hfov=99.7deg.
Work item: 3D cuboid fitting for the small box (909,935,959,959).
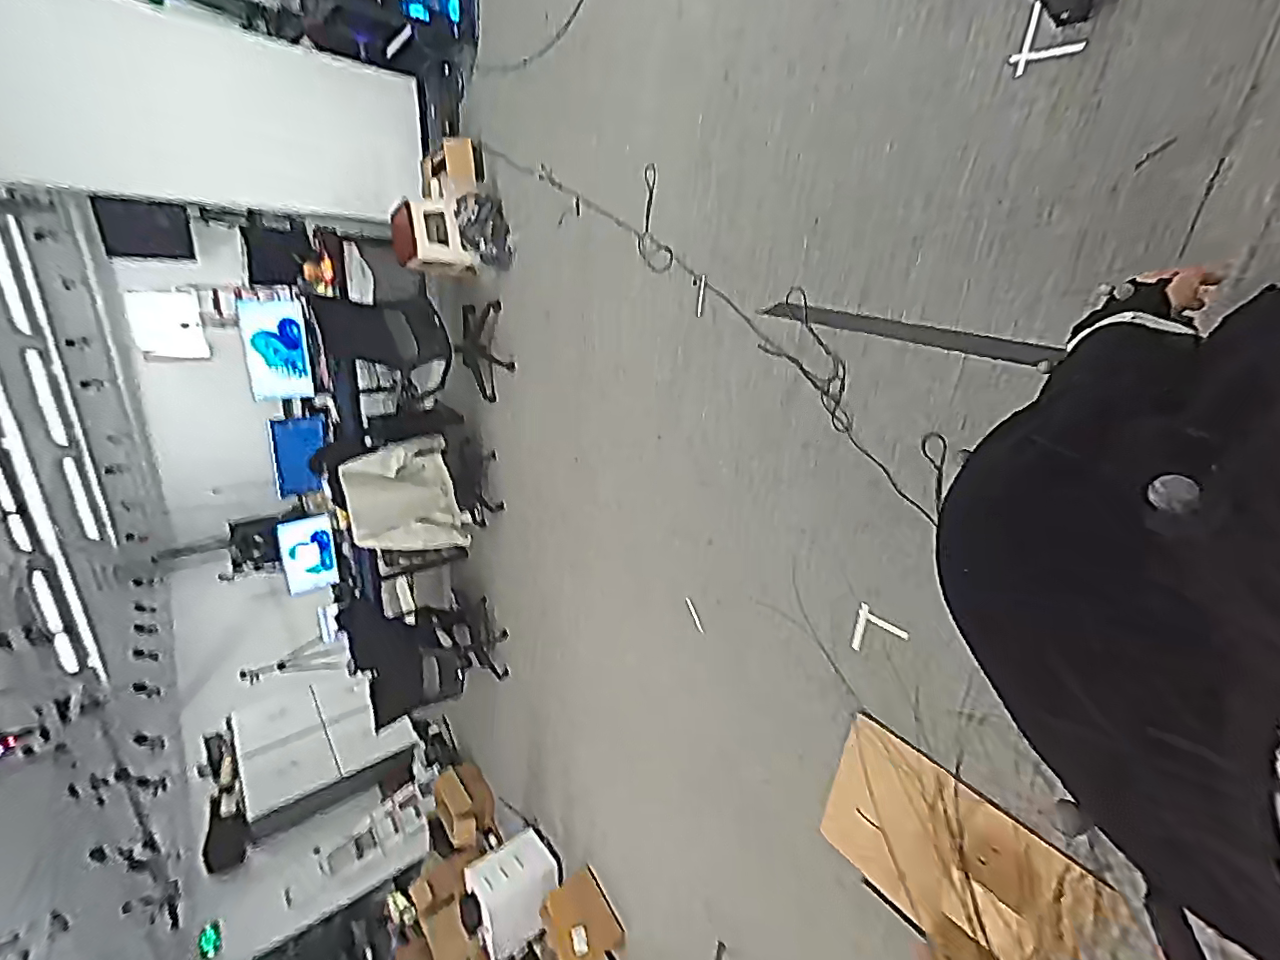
[{"bbox_3d":[0.811,1.419,1.476,0.168,0.176,0.179,22,118,45],"label":"small box"}]

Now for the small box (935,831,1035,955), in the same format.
[{"bbox_3d":[0.949,1.120,1.483,0.168,0.176,0.179,27,121,45],"label":"small box"}]

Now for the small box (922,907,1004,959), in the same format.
[{"bbox_3d":[0.935,1.385,1.581,0.168,0.176,0.179,21,116,47],"label":"small box"}]
